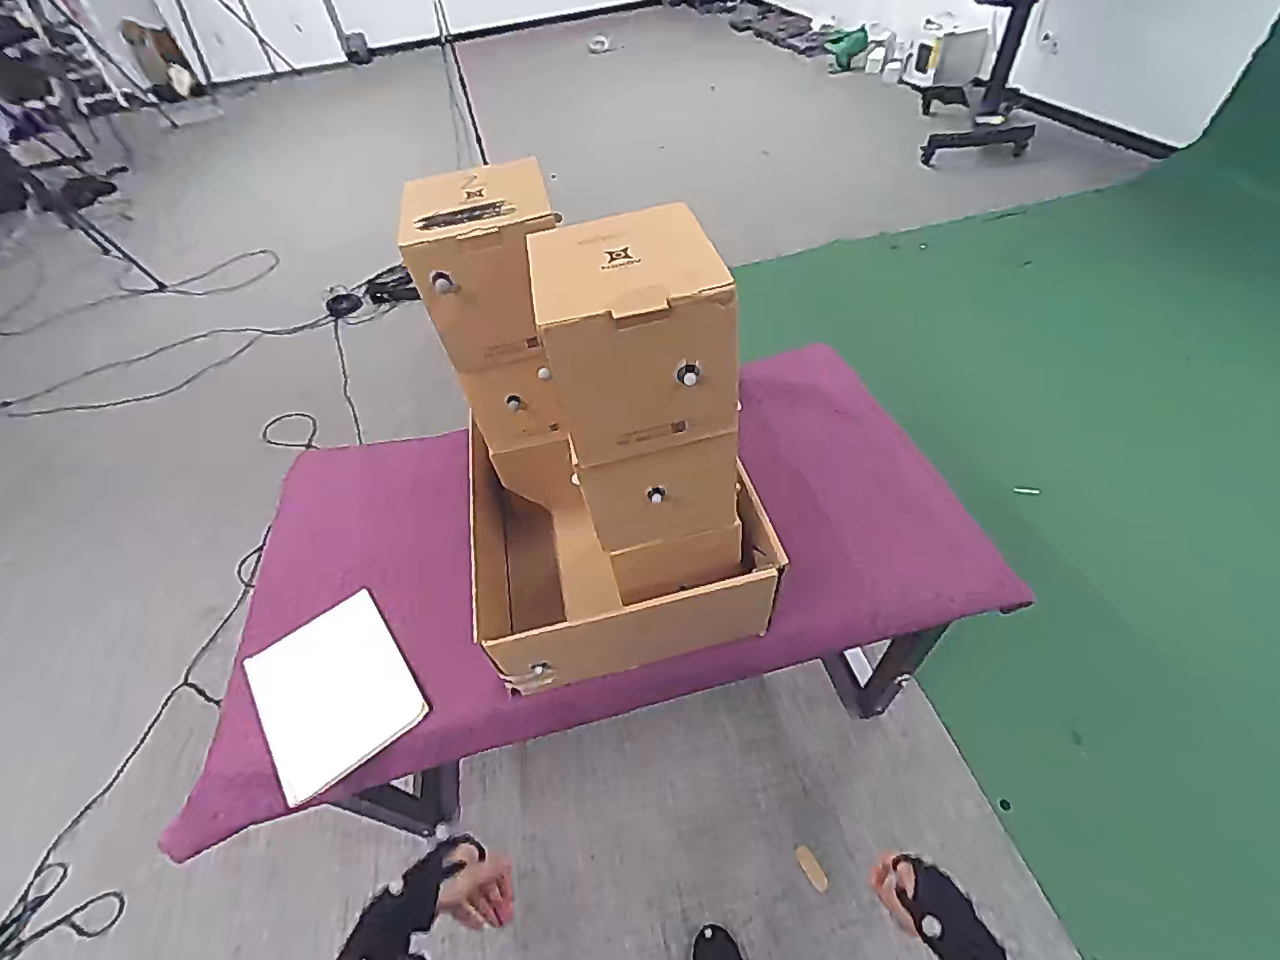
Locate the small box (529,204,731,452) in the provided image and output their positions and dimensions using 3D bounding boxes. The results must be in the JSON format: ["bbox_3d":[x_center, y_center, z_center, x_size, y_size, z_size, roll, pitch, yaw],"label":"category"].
[{"bbox_3d":[-0.008,-0.146,0.546,0.168,0.176,0.179,-13,47,-2],"label":"small box"}]

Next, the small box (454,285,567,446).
[{"bbox_3d":[-0.168,-0.168,0.813,0.168,0.176,0.179,-12,50,-3],"label":"small box"}]

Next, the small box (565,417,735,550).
[{"bbox_3d":[0.010,-0.038,0.668,0.179,0.176,0.168,-14,47,-1],"label":"small box"}]
